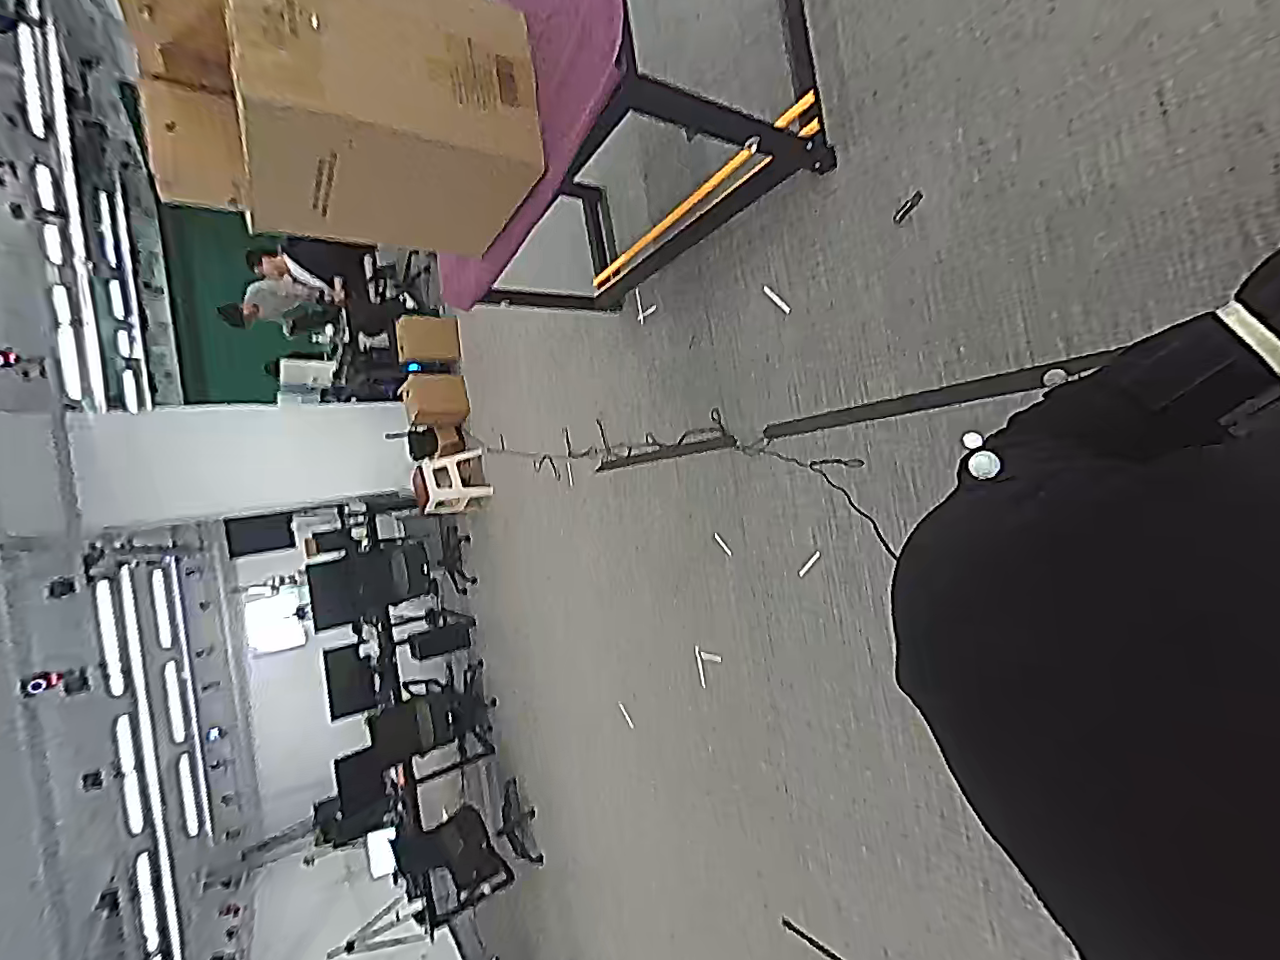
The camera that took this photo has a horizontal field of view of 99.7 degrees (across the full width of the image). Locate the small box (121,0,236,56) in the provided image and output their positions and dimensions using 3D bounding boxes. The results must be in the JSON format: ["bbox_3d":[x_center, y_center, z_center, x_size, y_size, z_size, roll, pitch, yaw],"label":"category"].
[{"bbox_3d":[-0.904,-0.980,1.046,0.179,0.176,0.168,-18,82,58],"label":"small box"}]
